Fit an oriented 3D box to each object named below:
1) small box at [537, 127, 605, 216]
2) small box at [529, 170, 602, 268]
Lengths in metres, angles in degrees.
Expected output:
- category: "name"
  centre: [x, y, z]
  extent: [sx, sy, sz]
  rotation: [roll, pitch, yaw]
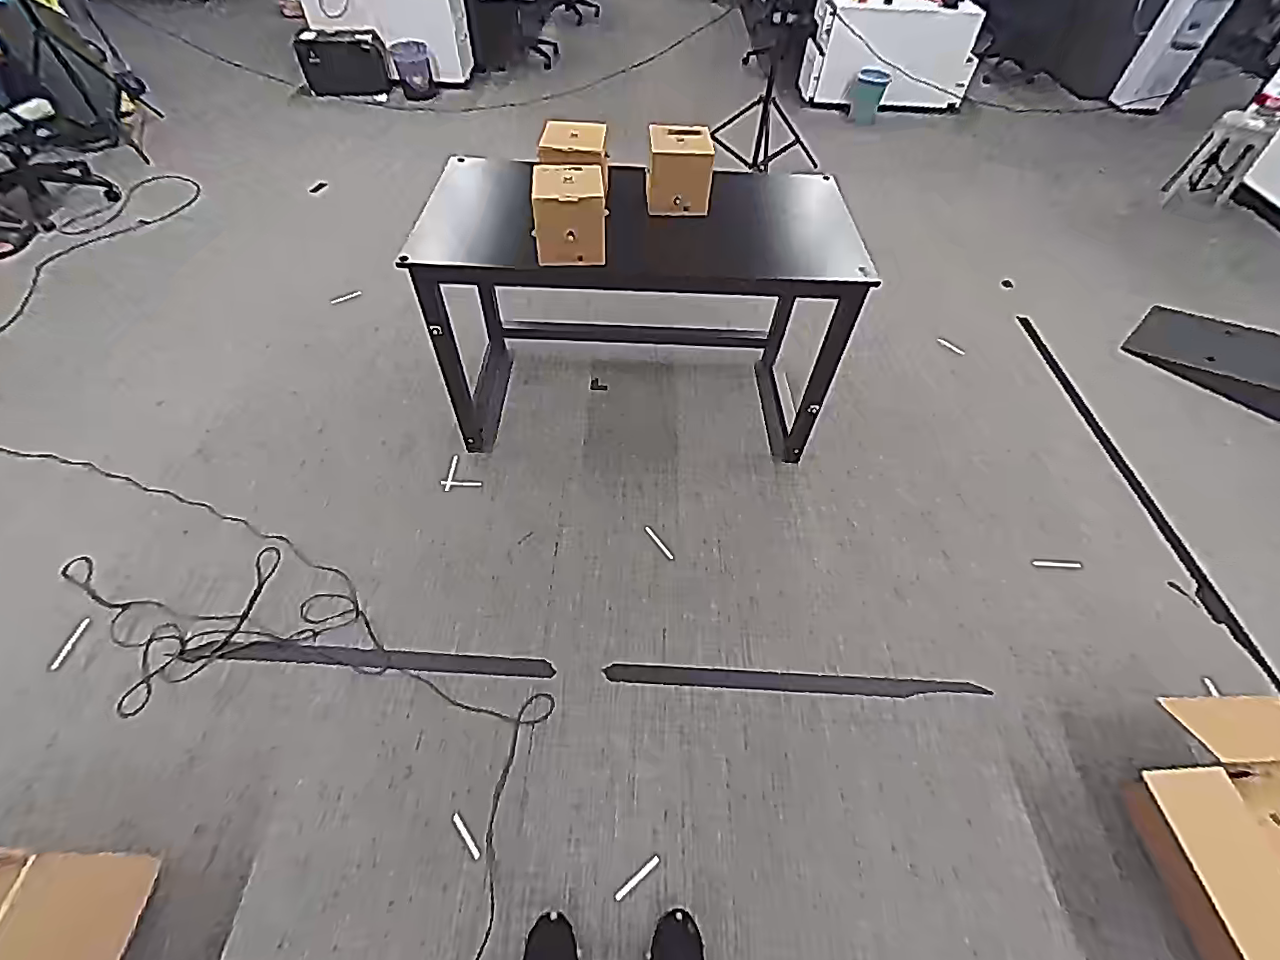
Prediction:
- category: "small box"
  centre: [-0.187, -0.857, 1.513]
  extent: [0.168, 0.176, 0.179]
  rotation: [3, 52, 0]
- category: "small box"
  centre: [-0.181, -0.644, 1.345]
  extent: [0.168, 0.176, 0.179]
  rotation: [-3, 52, -5]
